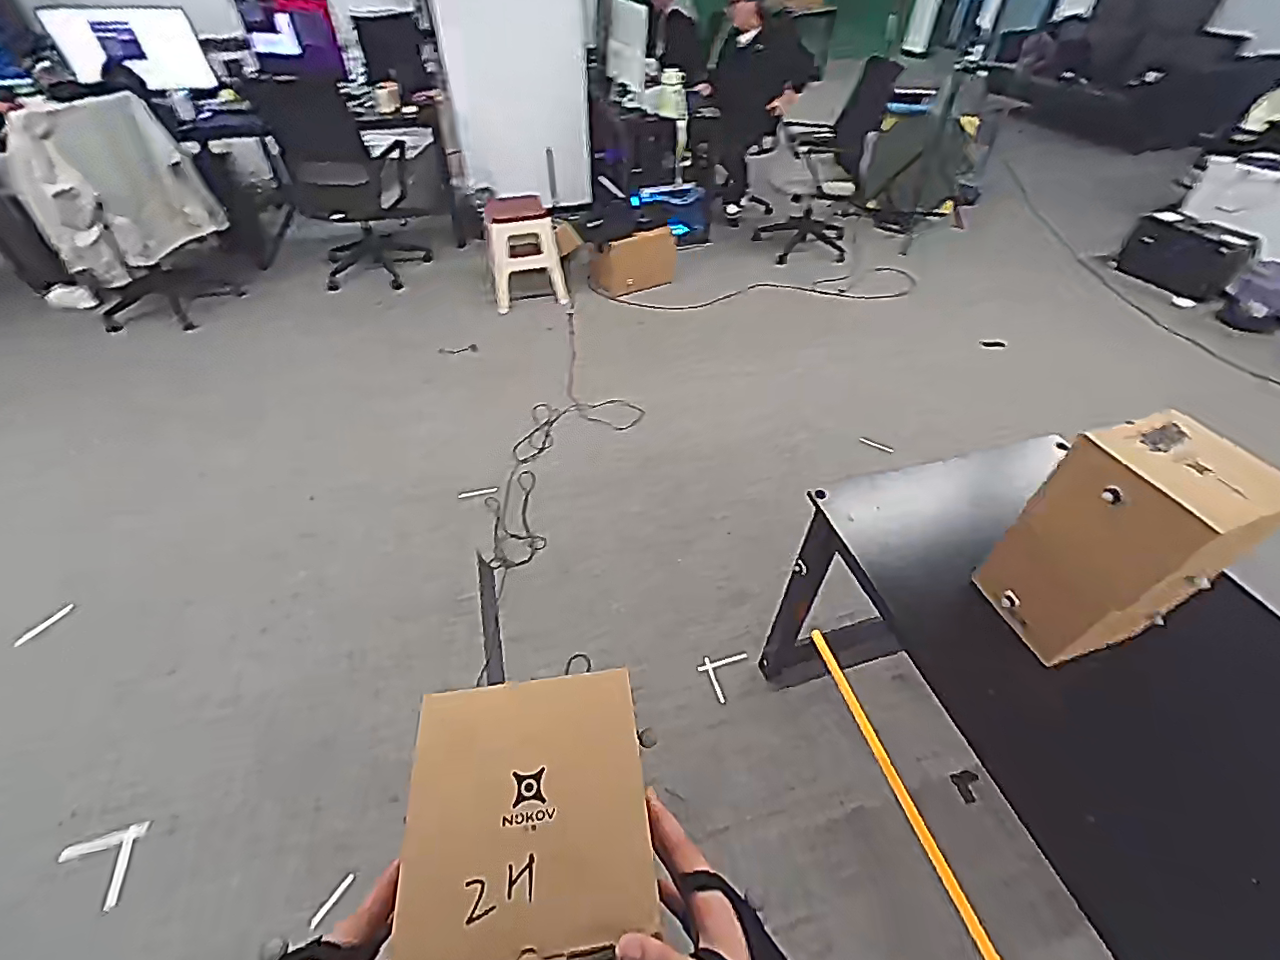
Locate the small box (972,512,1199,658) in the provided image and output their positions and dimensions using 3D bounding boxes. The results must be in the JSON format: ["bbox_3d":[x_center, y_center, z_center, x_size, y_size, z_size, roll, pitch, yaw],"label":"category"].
[{"bbox_3d":[0.663,0.144,0.832,0.179,0.176,0.168,-14,47,-12],"label":"small box"}]

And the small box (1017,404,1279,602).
[{"bbox_3d":[0.656,0.028,0.714,0.168,0.176,0.179,-15,48,-14],"label":"small box"}]

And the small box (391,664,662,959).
[{"bbox_3d":[-0.078,0.277,0.441,0.168,0.176,0.179,-6,47,-5],"label":"small box"}]
